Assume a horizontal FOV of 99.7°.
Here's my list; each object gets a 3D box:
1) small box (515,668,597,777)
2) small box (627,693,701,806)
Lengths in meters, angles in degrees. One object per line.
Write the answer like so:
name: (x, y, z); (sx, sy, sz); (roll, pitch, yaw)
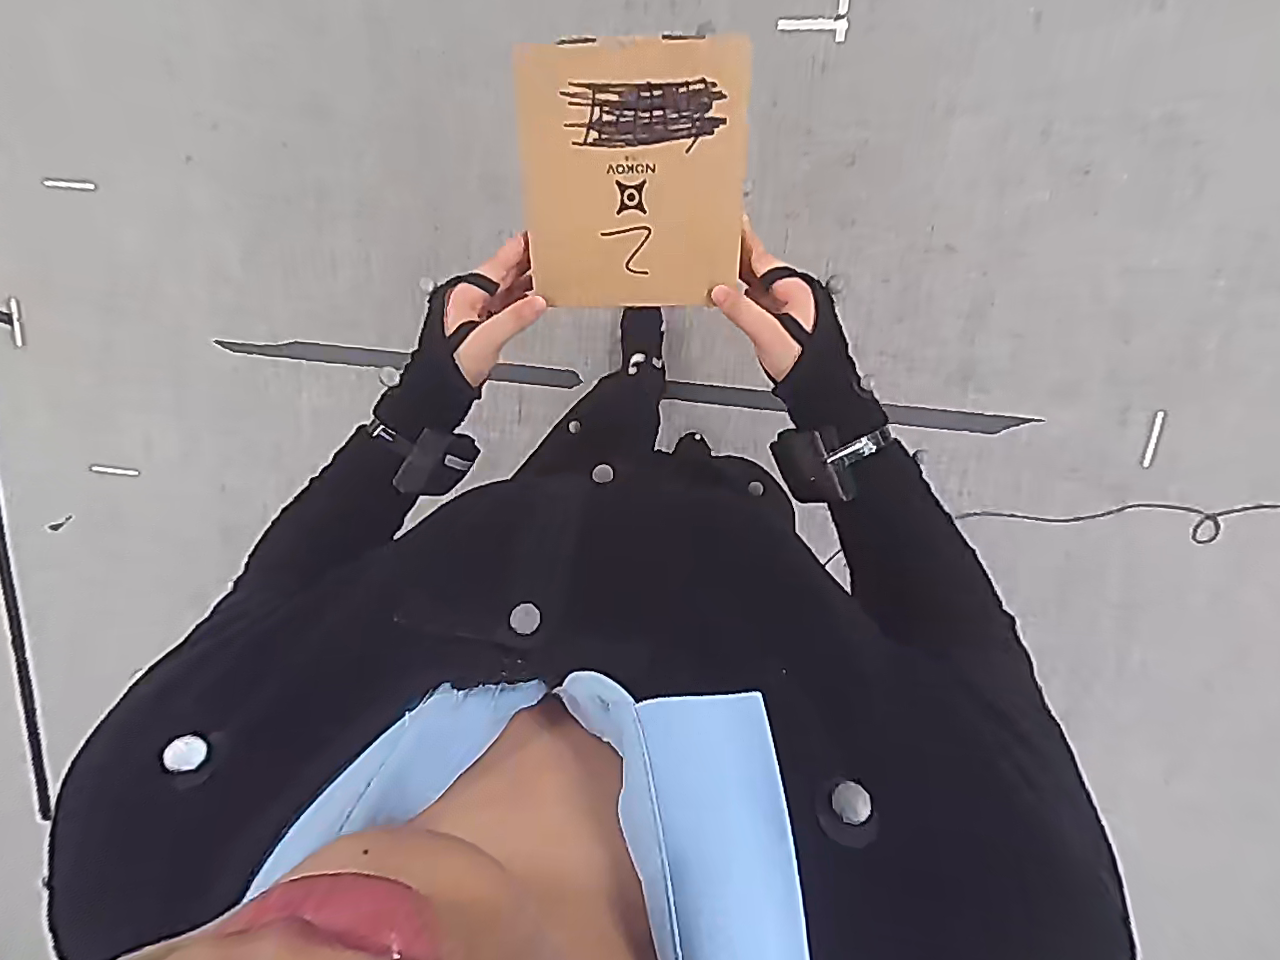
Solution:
small box: (-0.204, 0.596, 1.344); (0.168, 0.176, 0.179); (4, 101, 5)
small box: (0.063, 0.656, 1.327); (0.168, 0.176, 0.179); (4, 101, 5)
